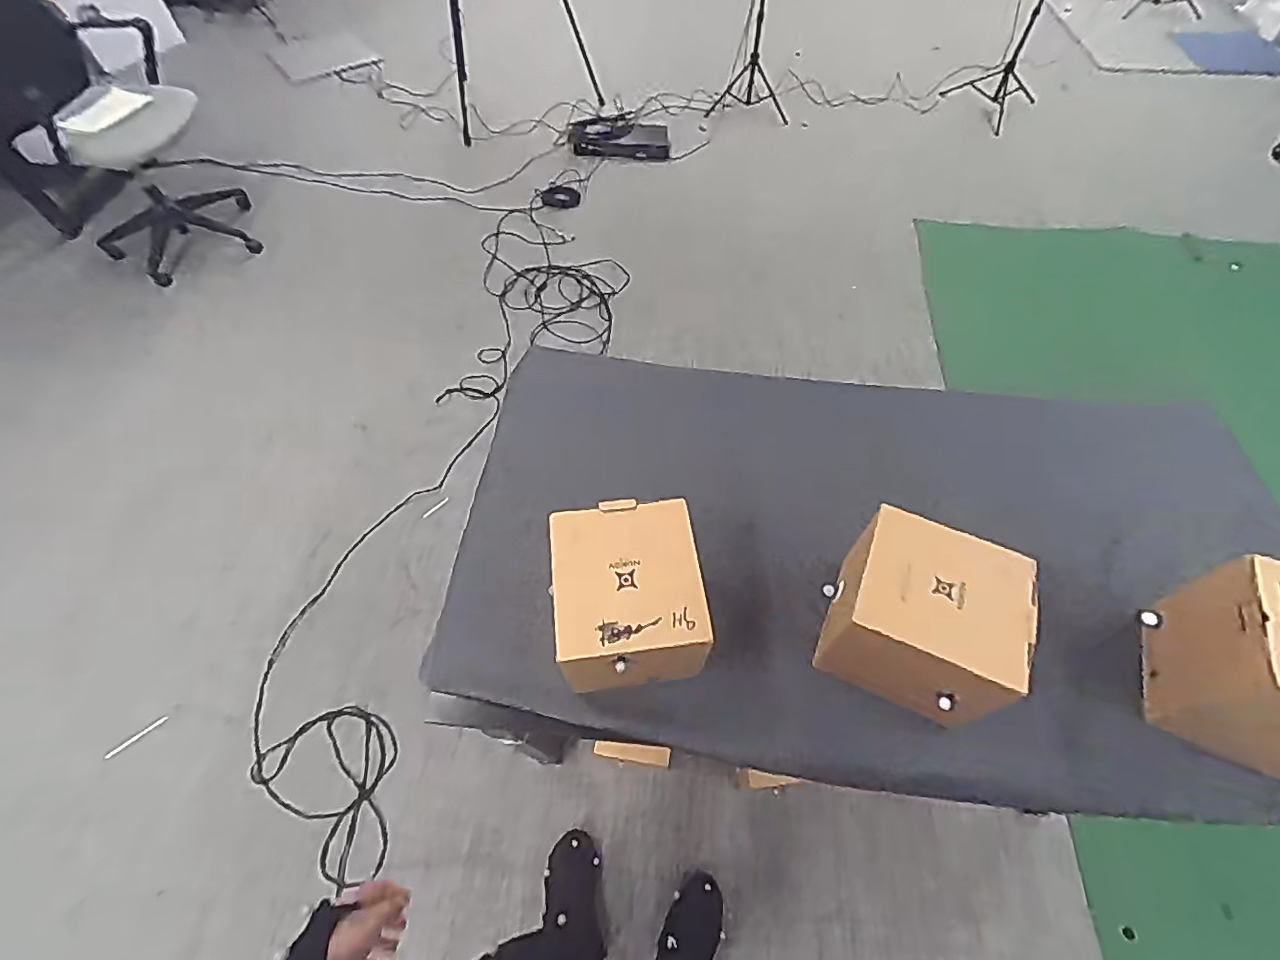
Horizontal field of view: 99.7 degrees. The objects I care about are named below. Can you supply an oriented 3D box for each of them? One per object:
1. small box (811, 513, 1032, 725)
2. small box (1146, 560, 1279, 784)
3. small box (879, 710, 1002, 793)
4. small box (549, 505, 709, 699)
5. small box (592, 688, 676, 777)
[{"bbox_3d":[0.328,0.173,0.651,0.179,0.176,0.168,20,57,15],"label":"small box"},{"bbox_3d":[0.719,0.224,0.606,0.179,0.176,0.168,22,58,15],"label":"small box"},{"bbox_3d":[0.670,0.610,1.229,0.168,0.176,0.179,0,57,0],"label":"small box"},{"bbox_3d":[-0.019,0.154,0.667,0.168,0.176,0.179,-7,58,-4],"label":"small box"},{"bbox_3d":[-0.008,0.580,1.262,0.168,0.176,0.179,7,57,6],"label":"small box"}]
